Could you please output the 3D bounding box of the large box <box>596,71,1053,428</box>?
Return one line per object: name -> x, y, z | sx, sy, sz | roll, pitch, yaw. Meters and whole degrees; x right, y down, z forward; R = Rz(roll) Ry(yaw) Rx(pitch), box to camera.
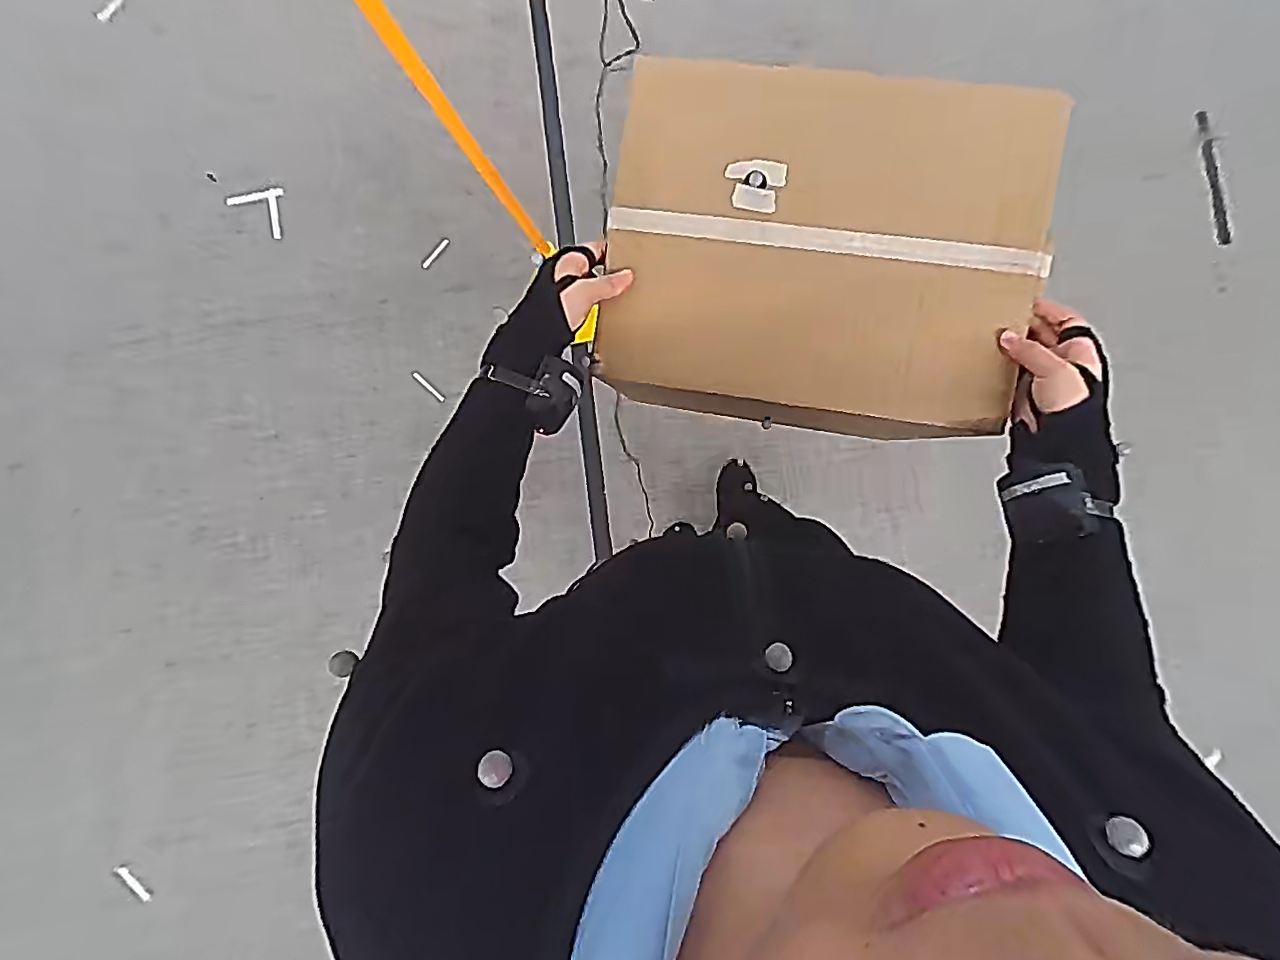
large box -> 0.188, -0.243, 0.677 | 0.408, 0.320, 0.320 | 9, 93, 7
